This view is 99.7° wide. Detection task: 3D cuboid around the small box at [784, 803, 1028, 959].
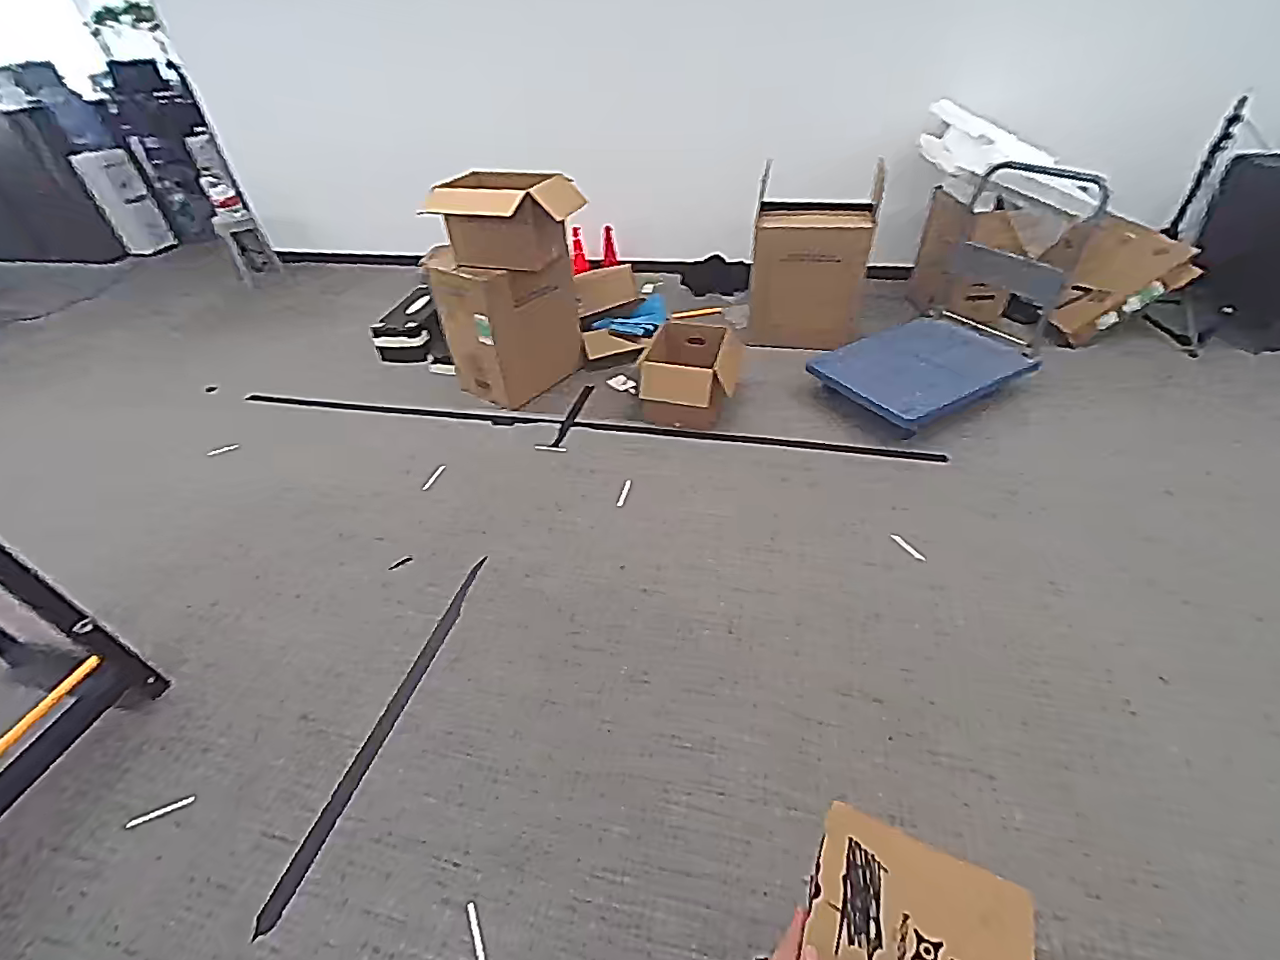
[{"bbox_3d":[0.237,0.451,0.504,0.179,0.176,0.168,11,43,26],"label":"small box"}]
